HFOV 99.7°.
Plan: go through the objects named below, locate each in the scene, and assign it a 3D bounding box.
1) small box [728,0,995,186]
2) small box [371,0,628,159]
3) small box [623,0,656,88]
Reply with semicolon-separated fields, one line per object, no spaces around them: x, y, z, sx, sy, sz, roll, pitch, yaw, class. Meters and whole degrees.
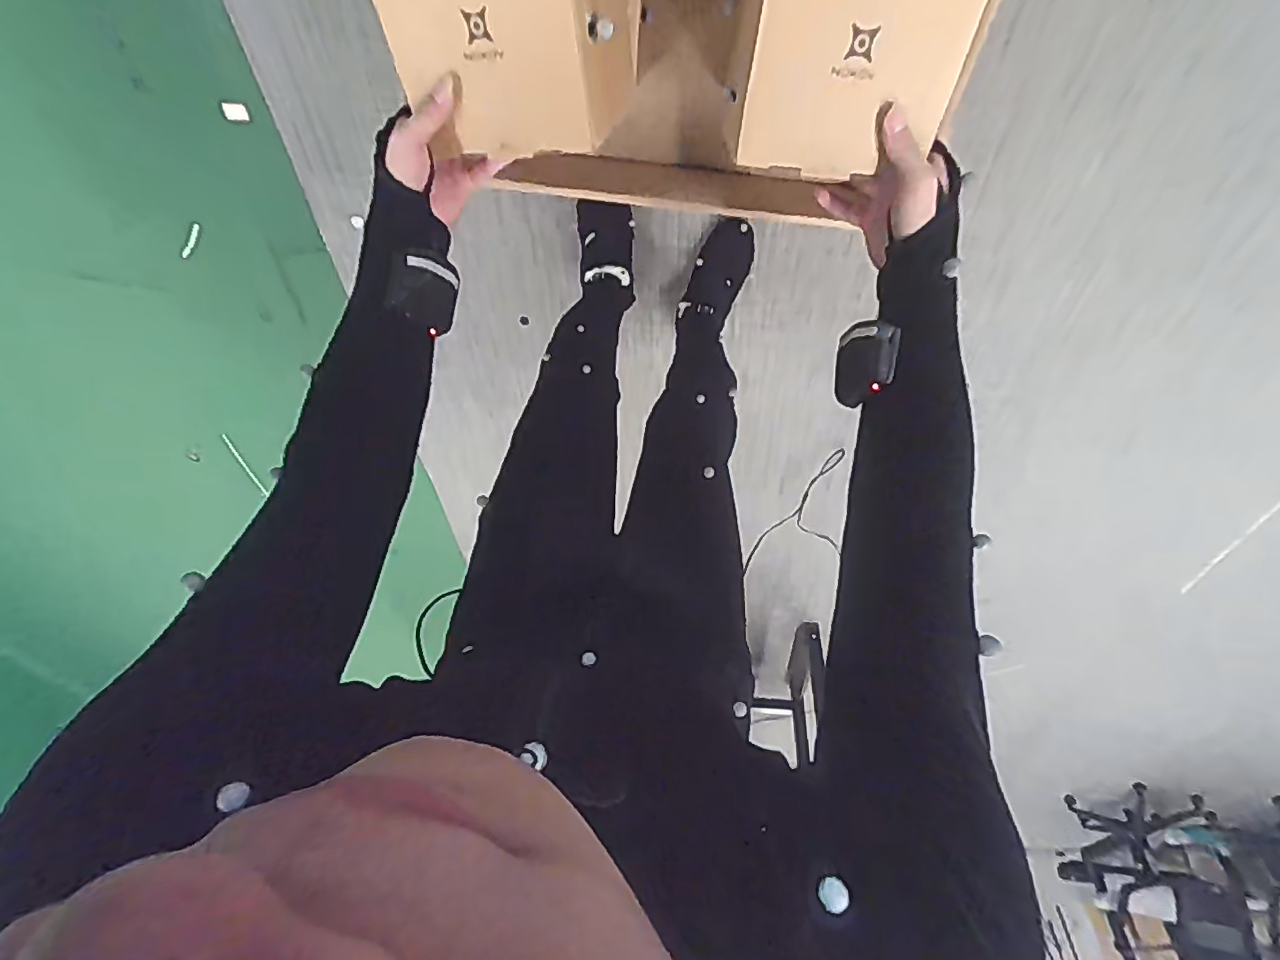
0.174;-0.381;0.469;0.168;0.176;0.179;5;132;-2;small box
-0.111;-0.406;0.471;0.168;0.176;0.179;4;139;11;small box
-0.075;-0.543;0.584;0.179;0.176;0.168;9;134;1;small box
